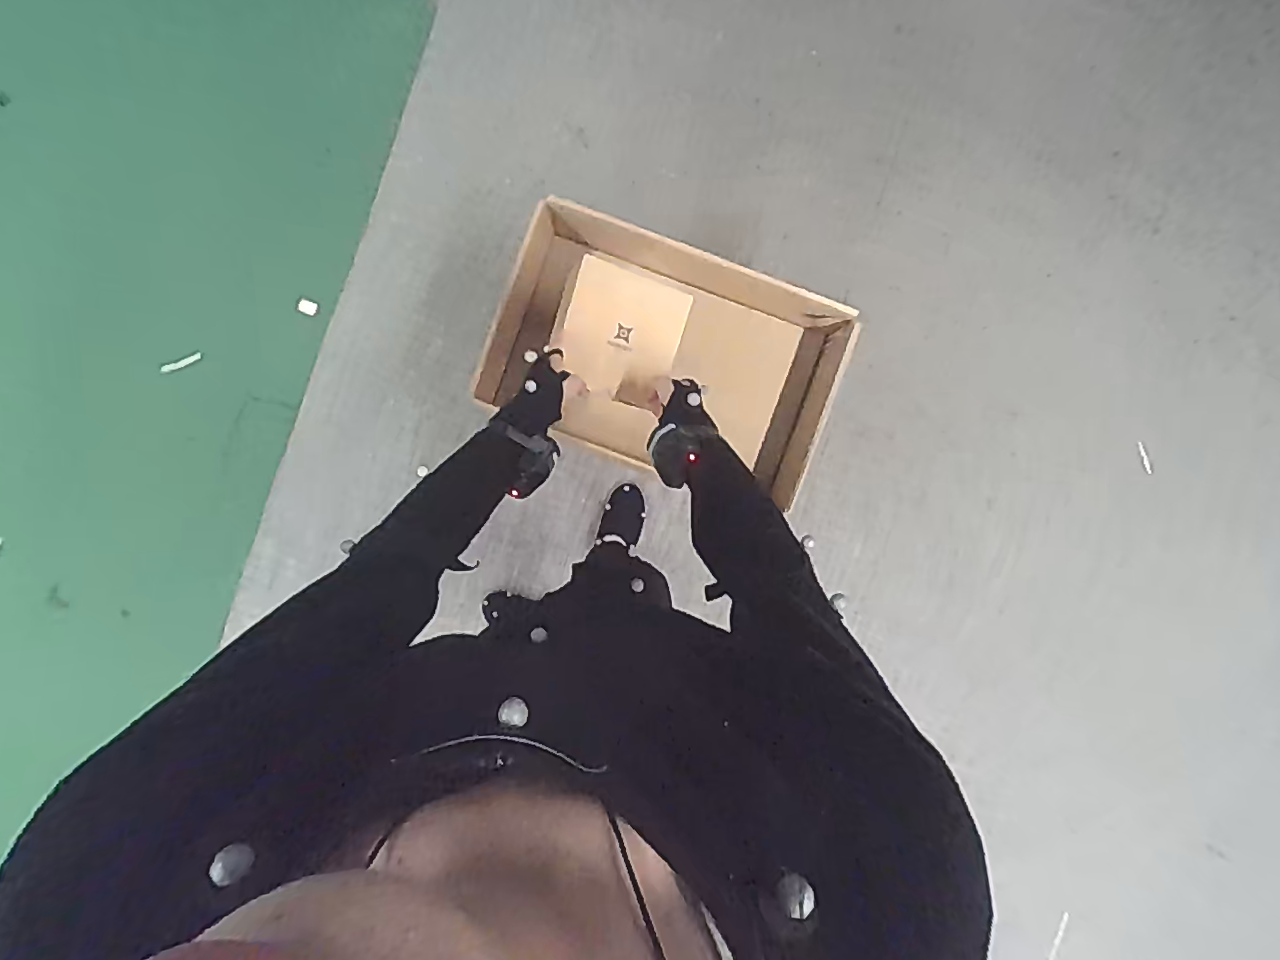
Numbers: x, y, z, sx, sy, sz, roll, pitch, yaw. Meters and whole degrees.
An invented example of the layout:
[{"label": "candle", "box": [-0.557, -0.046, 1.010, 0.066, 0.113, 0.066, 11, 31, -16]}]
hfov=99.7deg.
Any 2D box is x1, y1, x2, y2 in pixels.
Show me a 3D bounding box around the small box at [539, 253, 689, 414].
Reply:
[{"label": "small box", "box": [-0.050, -0.213, 0.817, 0.168, 0.176, 0.179, 15, 98, -17]}]
